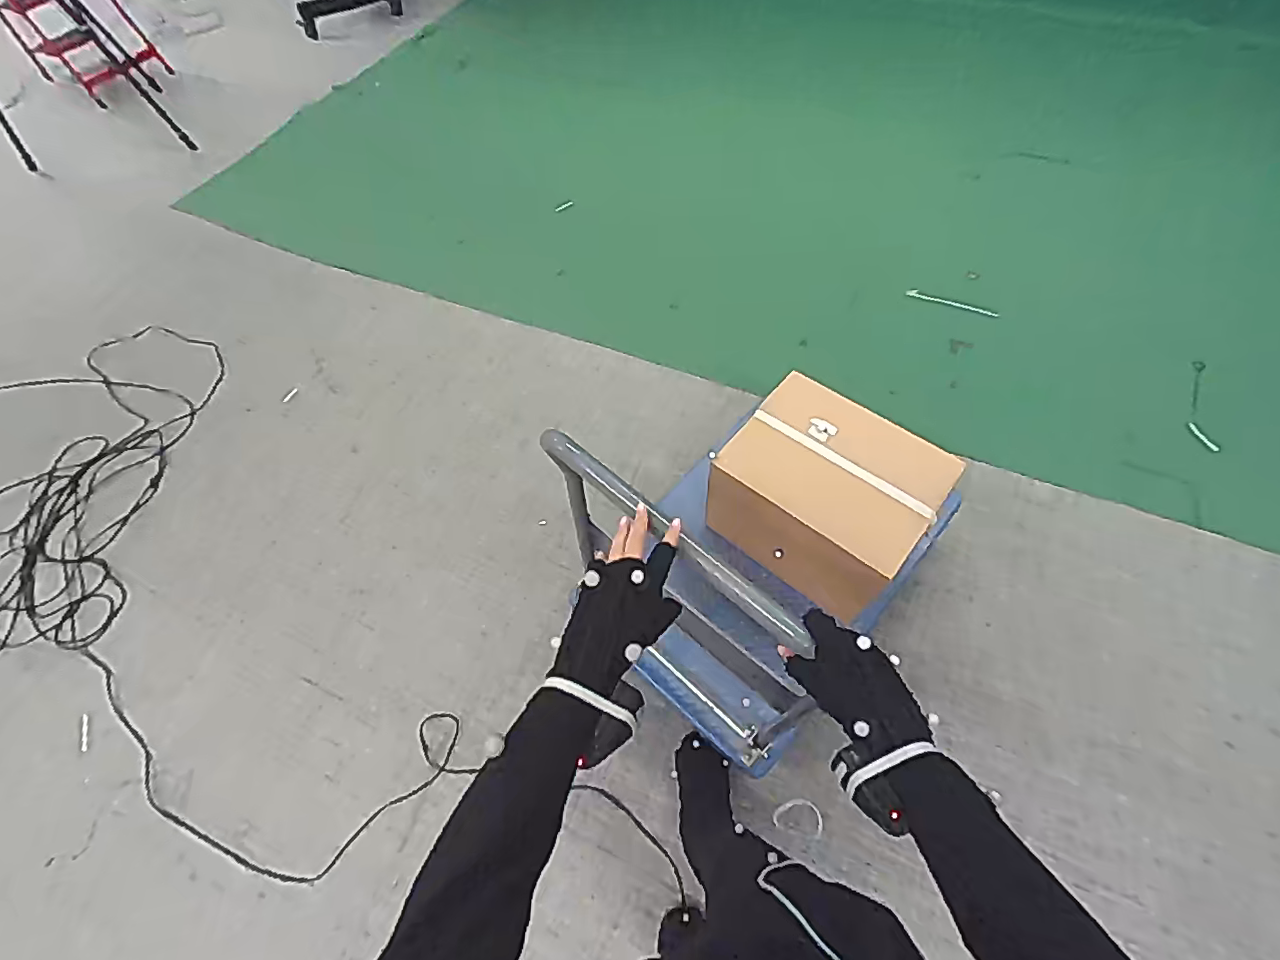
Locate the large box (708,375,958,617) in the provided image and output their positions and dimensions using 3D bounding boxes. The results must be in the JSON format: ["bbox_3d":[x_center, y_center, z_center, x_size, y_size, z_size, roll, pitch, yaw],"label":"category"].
[{"bbox_3d":[0.404,0.041,1.229,0.408,0.320,0.320,35,68,22],"label":"large box"}]
